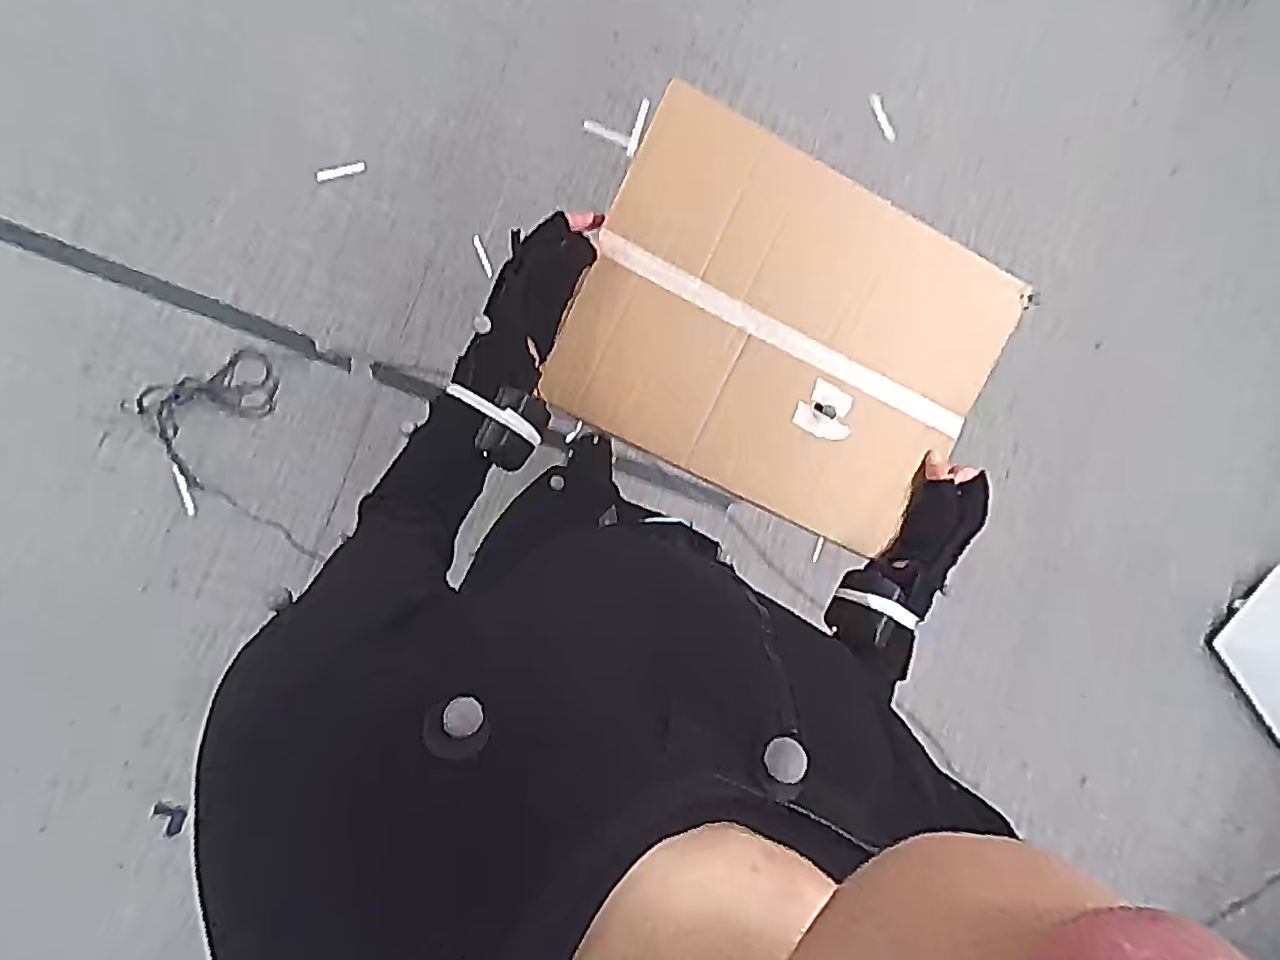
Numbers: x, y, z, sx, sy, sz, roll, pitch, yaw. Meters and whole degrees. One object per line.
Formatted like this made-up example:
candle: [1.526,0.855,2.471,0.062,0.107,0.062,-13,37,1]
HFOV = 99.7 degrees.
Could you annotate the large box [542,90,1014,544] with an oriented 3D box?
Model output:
large box: [0.129,-0.166,0.685,0.408,0.320,0.320,26,95,-8]
